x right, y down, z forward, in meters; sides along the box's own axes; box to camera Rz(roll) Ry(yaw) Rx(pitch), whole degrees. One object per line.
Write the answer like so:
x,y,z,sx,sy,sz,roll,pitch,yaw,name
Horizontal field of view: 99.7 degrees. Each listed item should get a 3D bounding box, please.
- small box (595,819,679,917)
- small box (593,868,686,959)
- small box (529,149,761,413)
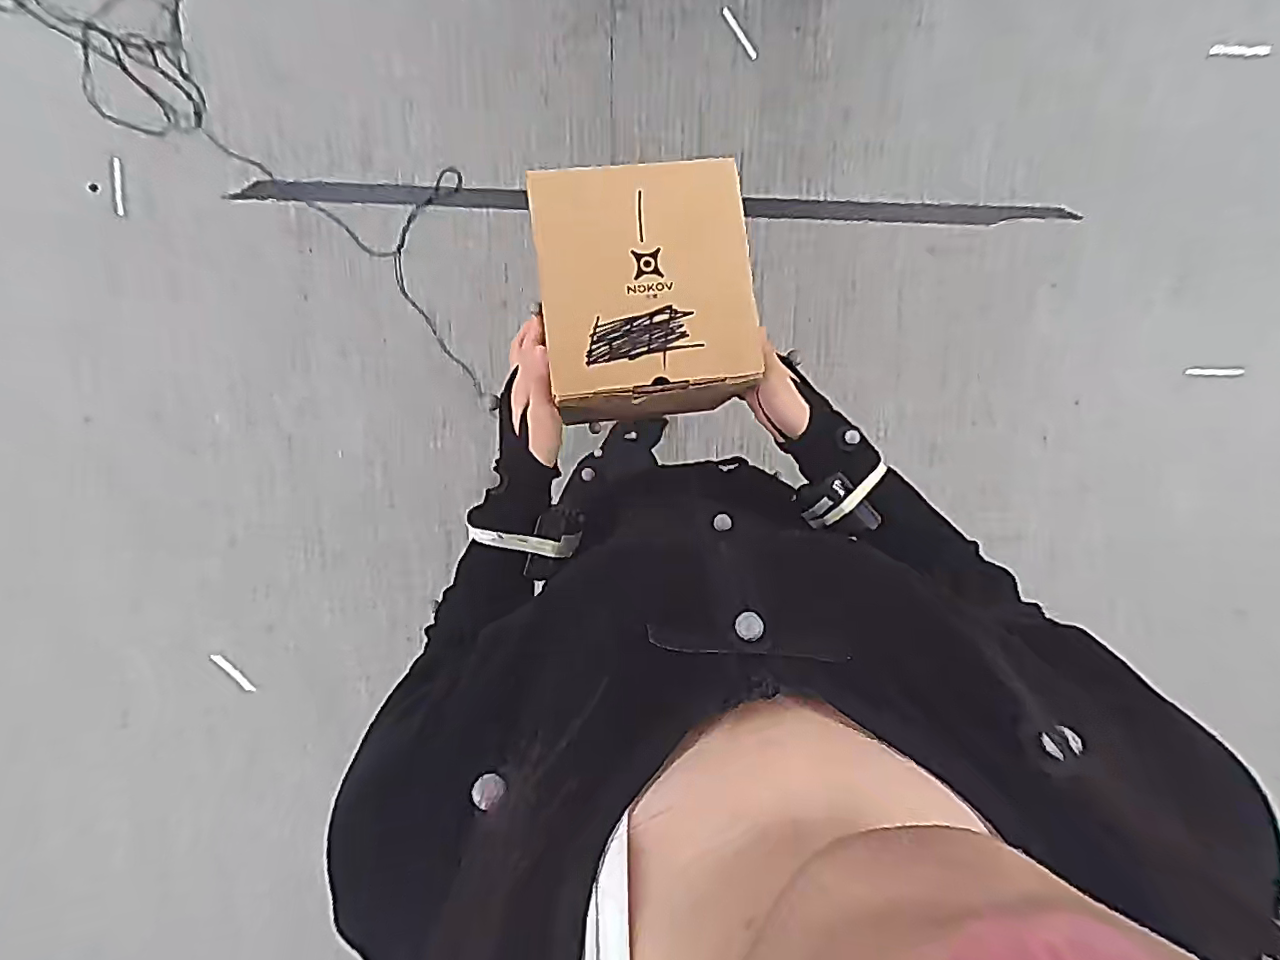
-0.008,0.884,1.198,0.179,0.176,0.168,0,95,1,small box
-0.002,0.892,1.036,0.168,0.176,0.179,1,95,0,small box
-0.001,-0.160,0.491,0.168,0.176,0.179,-7,88,-6,small box
